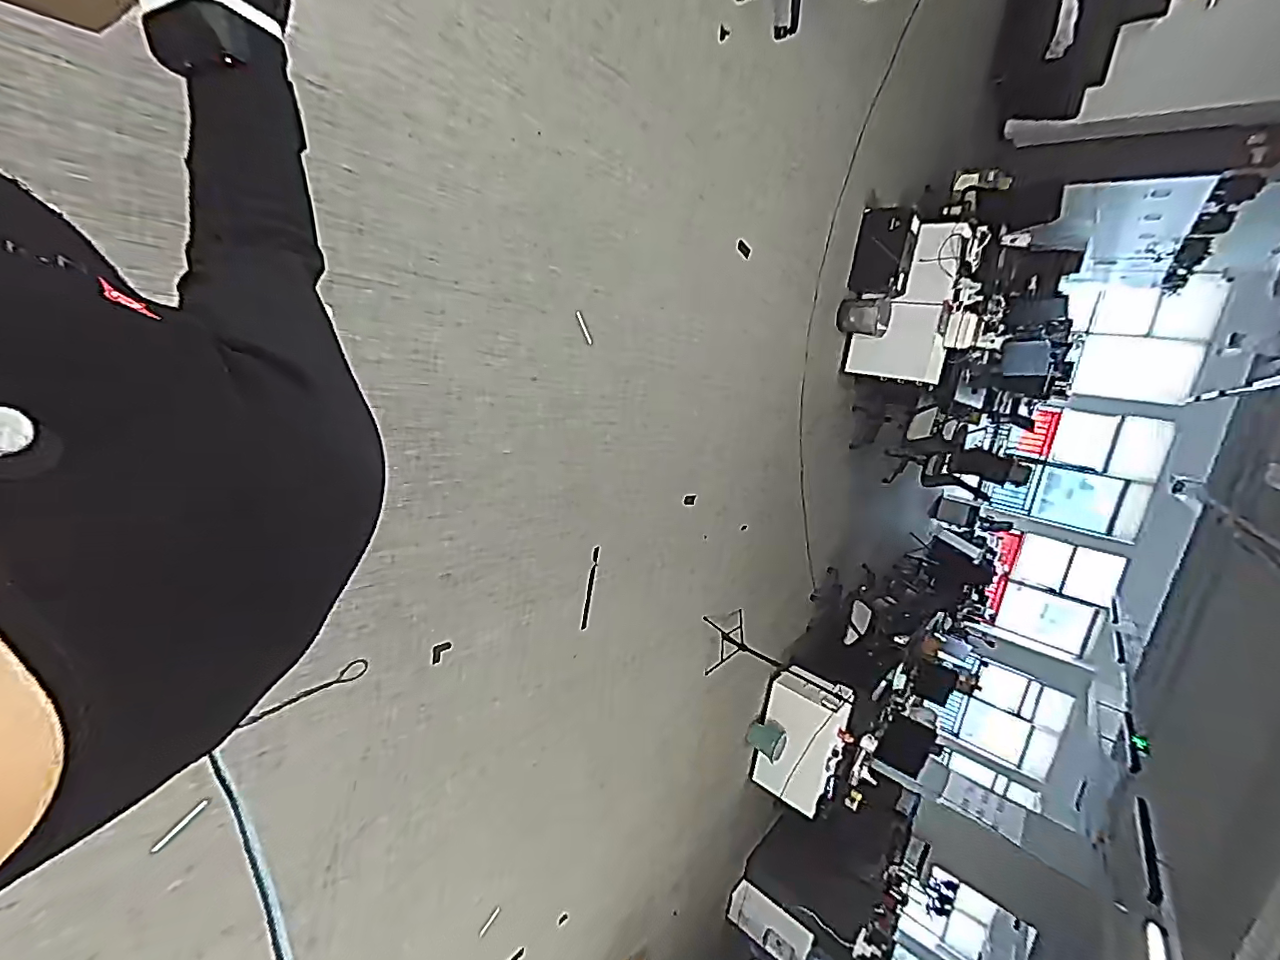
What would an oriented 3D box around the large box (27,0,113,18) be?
[{"bbox_3d":[-0.529,-0.514,0.254,0.408,0.320,0.320,-15,121,-51],"label":"large box"}]
